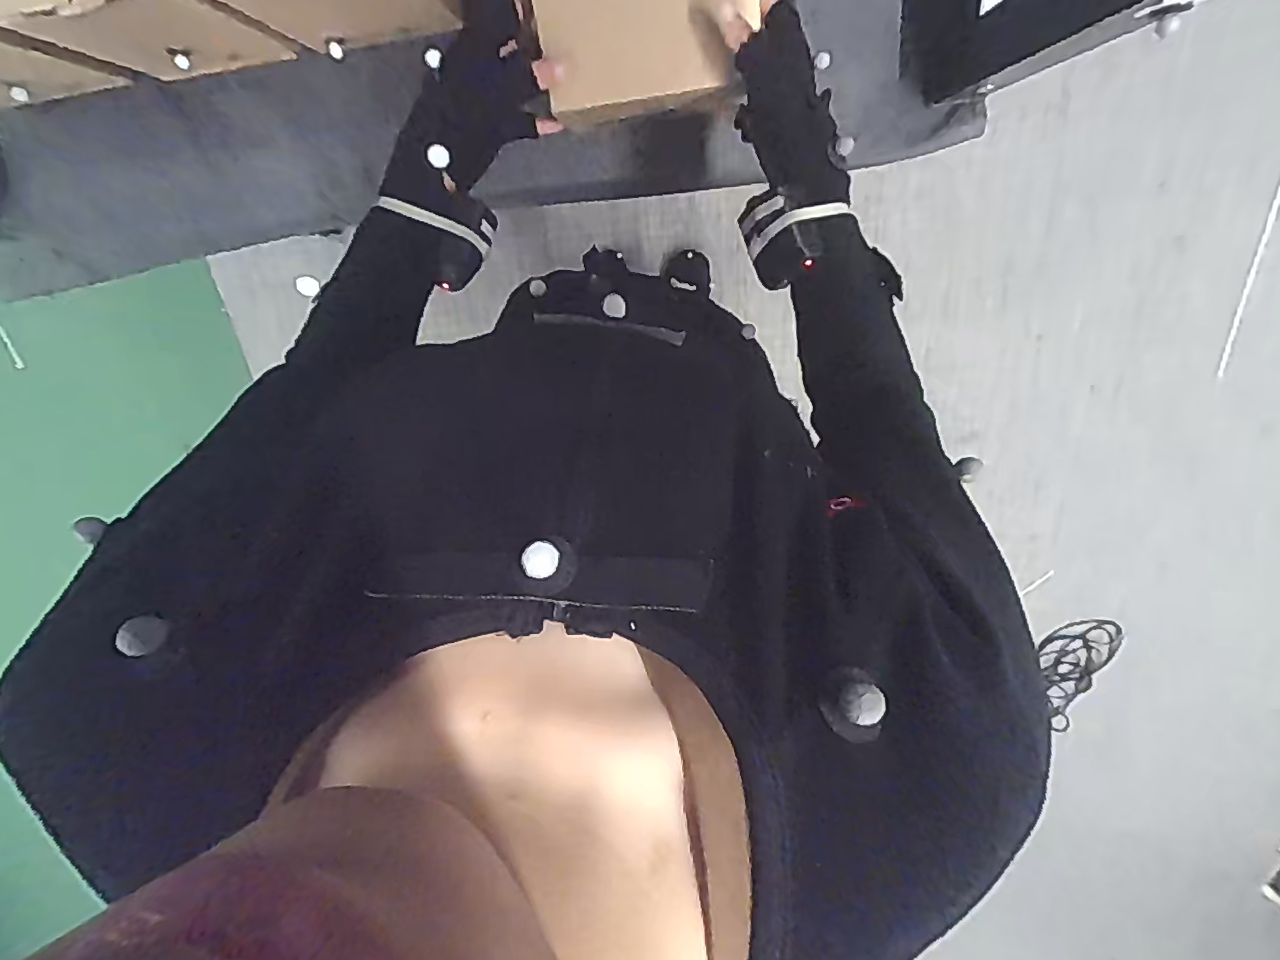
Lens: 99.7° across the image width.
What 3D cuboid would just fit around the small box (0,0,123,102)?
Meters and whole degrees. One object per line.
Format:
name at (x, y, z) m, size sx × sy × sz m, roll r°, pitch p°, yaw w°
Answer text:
small box at (-0.645, -0.472, 0.485) m, size 0.168 × 0.176 × 0.179 m, roll -6°, pitch 114°, yaw 6°
